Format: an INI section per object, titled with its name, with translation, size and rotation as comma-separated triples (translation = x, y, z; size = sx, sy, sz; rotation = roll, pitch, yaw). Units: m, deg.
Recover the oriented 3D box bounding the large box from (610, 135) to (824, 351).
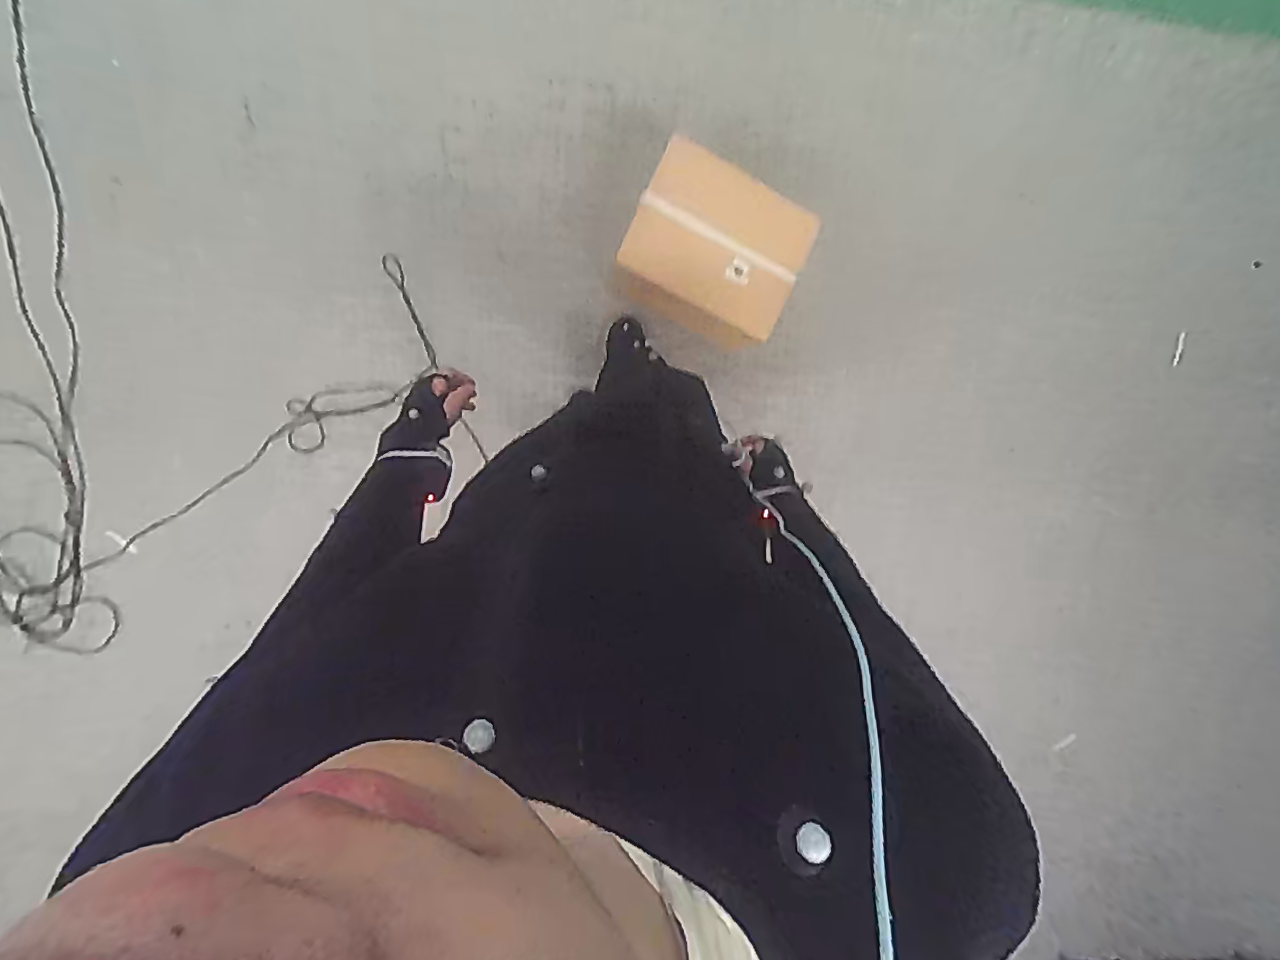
[large box]
translation = 0.173, -0.572, 1.389
size = 0.408, 0.320, 0.320
rotation = 26, 95, -10
